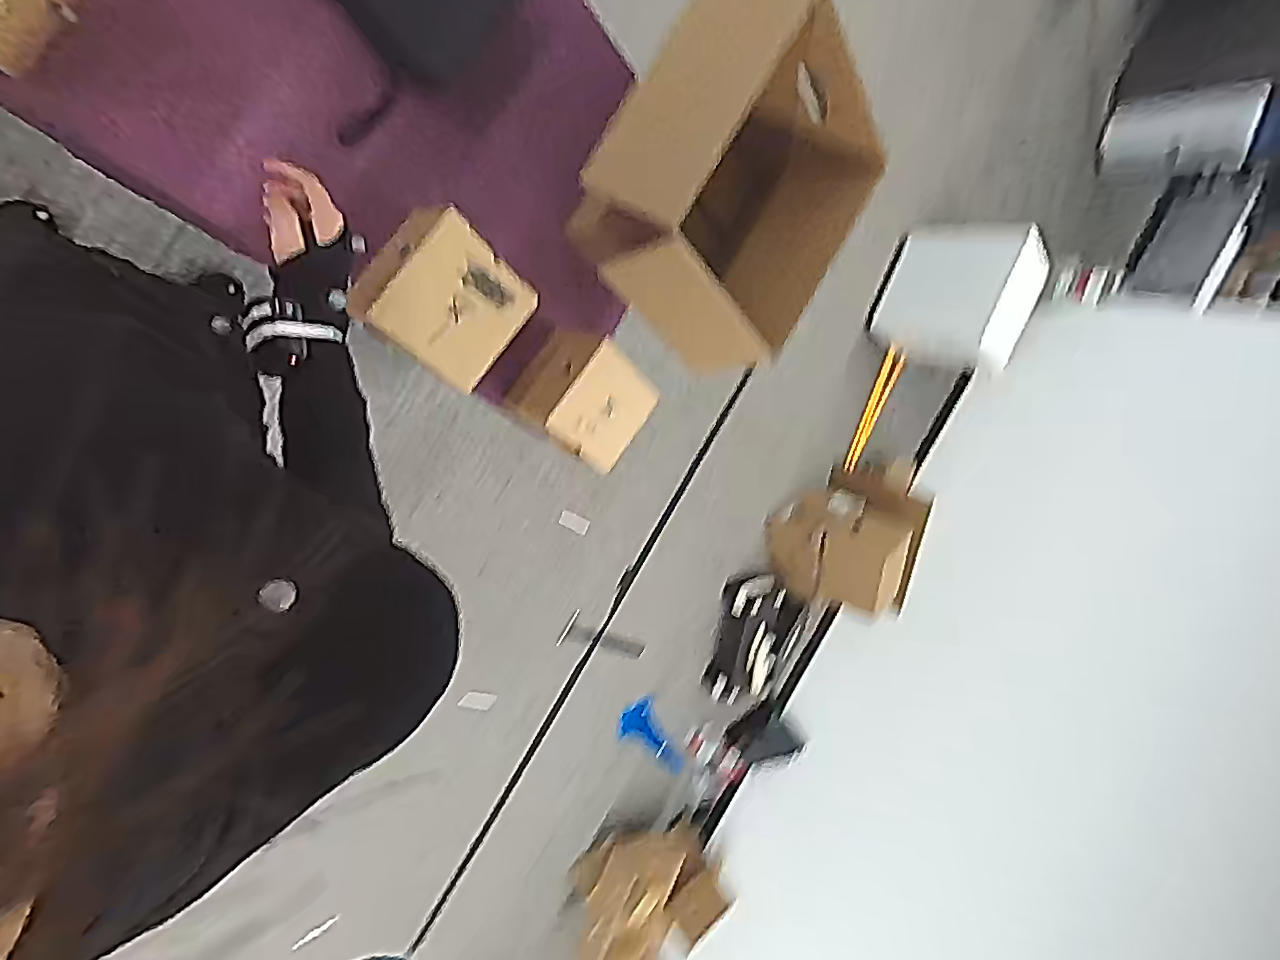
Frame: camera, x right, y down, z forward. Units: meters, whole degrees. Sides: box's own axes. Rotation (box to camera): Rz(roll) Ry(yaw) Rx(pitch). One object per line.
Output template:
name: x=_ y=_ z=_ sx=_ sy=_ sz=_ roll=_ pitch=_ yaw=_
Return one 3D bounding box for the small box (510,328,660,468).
small box: x=-0.104 y=-0.154 z=0.979 sx=0.168 sy=0.176 sz=0.179 roll=40 pitch=81 yaw=-42
